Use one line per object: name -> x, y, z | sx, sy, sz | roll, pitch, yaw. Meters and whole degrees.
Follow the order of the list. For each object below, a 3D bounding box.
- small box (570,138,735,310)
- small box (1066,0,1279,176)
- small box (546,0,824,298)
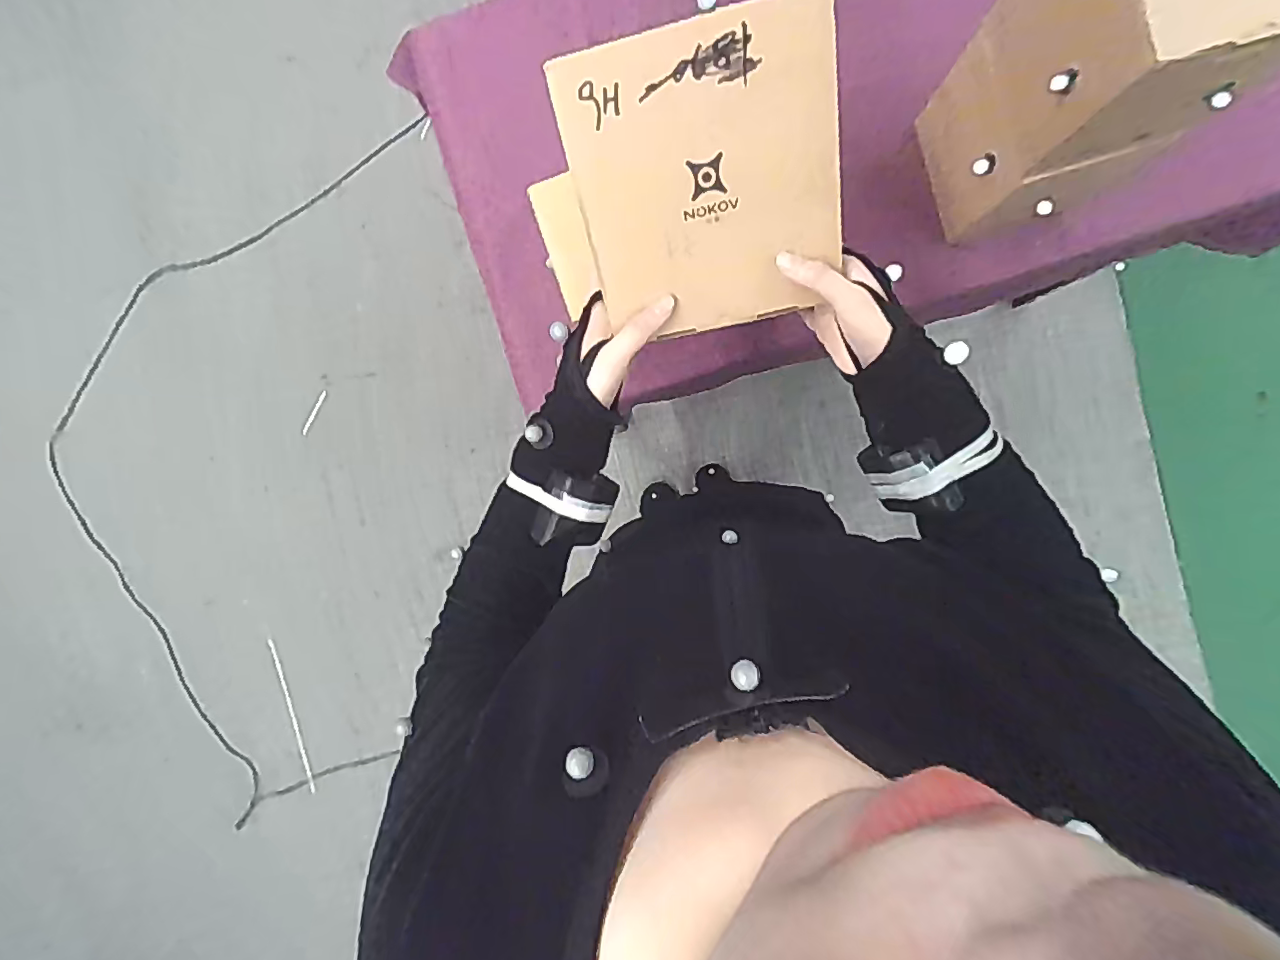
small box -> 0.027, -0.323, 0.669 | 0.179, 0.176, 0.168 | -11, 93, 4
small box -> 0.513, -0.389, 0.467 | 0.168, 0.176, 0.179 | -6, 93, 4
small box -> 0.041, -0.261, 0.431 | 0.168, 0.176, 0.179 | -10, 116, 7
